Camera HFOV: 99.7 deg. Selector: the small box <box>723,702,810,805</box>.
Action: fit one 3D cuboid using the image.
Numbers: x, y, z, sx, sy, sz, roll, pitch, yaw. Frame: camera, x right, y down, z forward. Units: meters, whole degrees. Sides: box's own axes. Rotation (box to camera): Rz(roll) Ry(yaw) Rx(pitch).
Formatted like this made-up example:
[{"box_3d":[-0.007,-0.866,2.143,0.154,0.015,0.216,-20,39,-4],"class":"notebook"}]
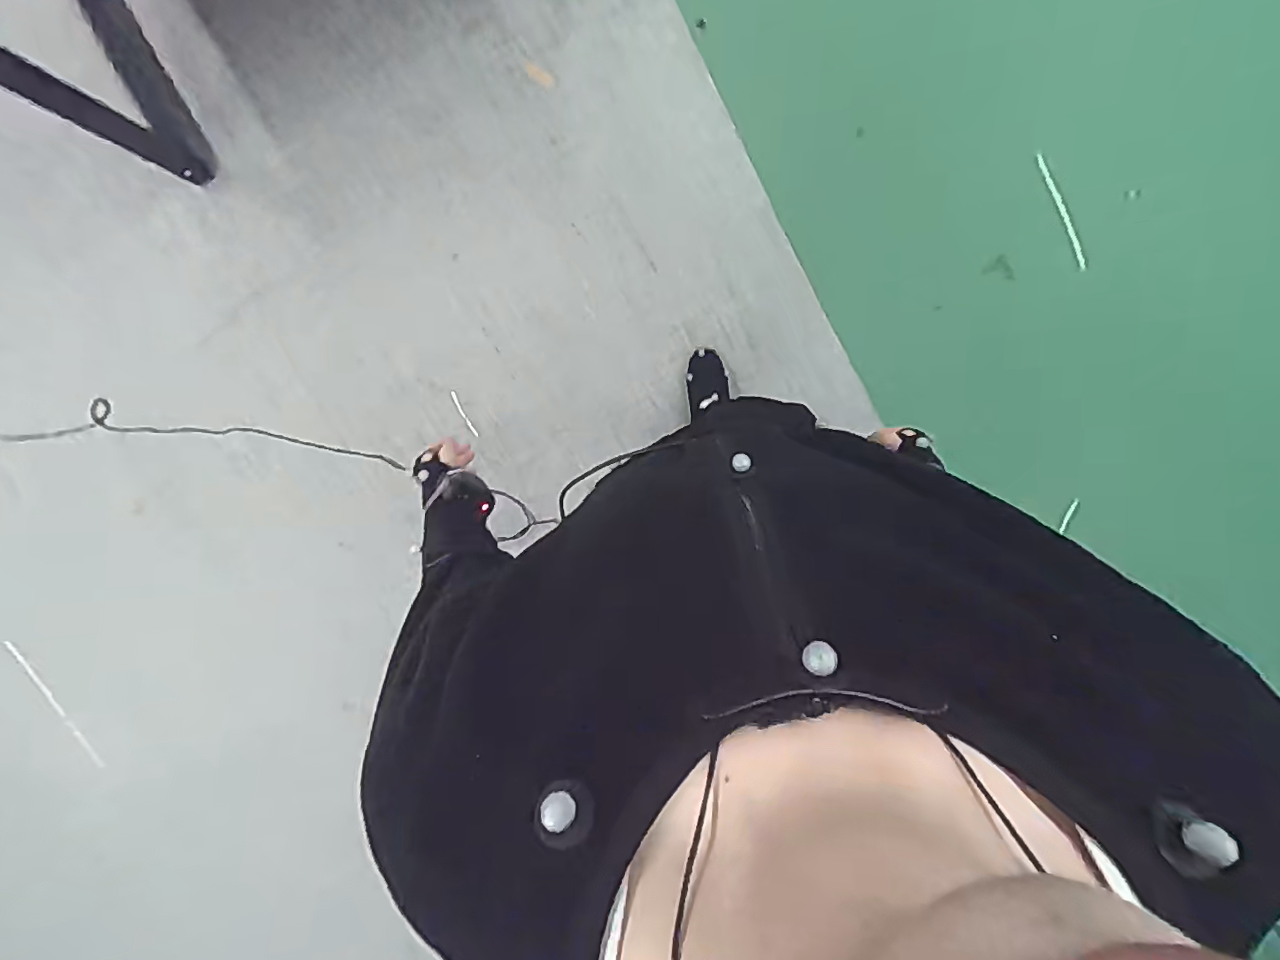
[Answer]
[{"box_3d":[0.342,0.745,1.499,0.168,0.176,0.179,-23,97,4],"class":"small box"}]
